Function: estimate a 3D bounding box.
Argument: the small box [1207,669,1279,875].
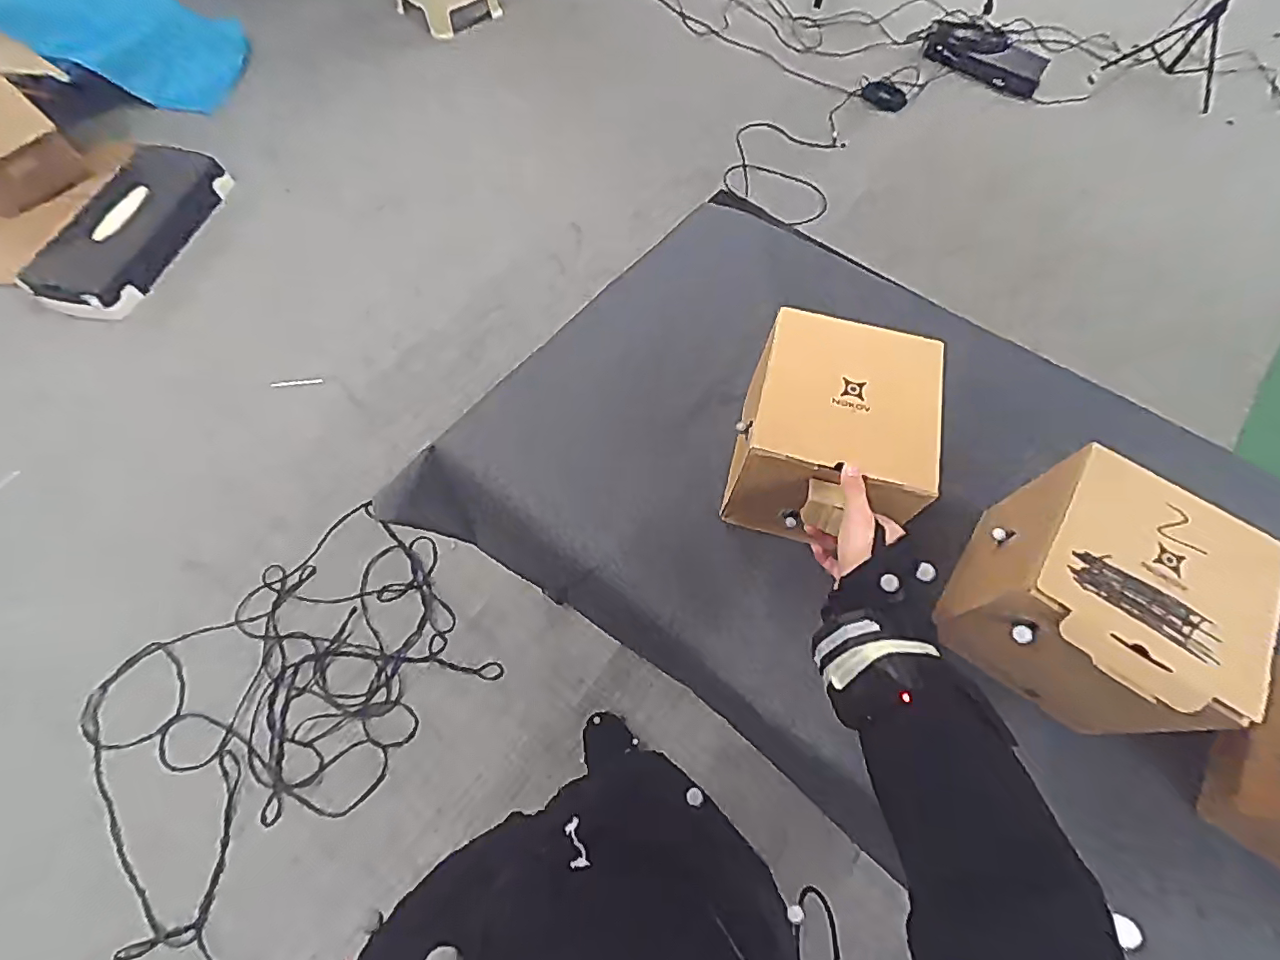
[{"bbox_3d":[0.629,0.268,0.436,0.168,0.176,0.179,35,66,14],"label":"small box"}]

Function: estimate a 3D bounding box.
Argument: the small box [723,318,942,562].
[{"bbox_3d":[0.193,-0.035,0.575,0.168,0.176,0.179,14,64,5],"label":"small box"}]
